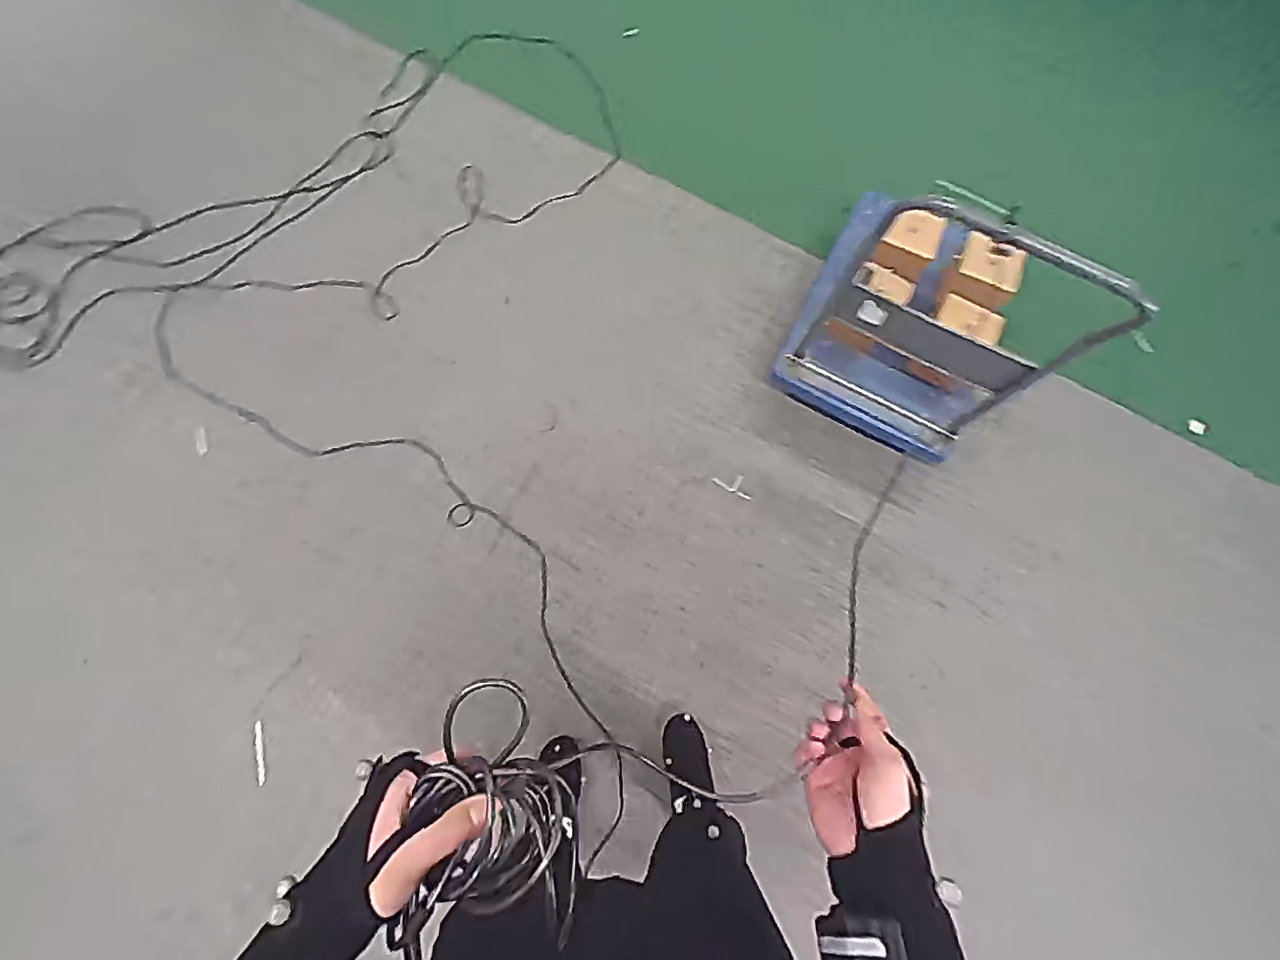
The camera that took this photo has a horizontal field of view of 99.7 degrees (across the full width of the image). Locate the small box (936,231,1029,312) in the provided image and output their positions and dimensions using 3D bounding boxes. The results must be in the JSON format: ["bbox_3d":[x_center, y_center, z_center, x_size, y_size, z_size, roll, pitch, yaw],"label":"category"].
[{"bbox_3d":[1.052,-0.621,1.672,0.168,0.176,0.179,25,71,5],"label":"small box"}]

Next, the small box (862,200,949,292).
[{"bbox_3d":[0.823,-0.725,1.692,0.168,0.176,0.179,25,70,4],"label":"small box"}]

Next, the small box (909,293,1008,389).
[{"bbox_3d":[0.923,-0.401,1.582,0.168,0.176,0.179,29,71,6],"label":"small box"}]
